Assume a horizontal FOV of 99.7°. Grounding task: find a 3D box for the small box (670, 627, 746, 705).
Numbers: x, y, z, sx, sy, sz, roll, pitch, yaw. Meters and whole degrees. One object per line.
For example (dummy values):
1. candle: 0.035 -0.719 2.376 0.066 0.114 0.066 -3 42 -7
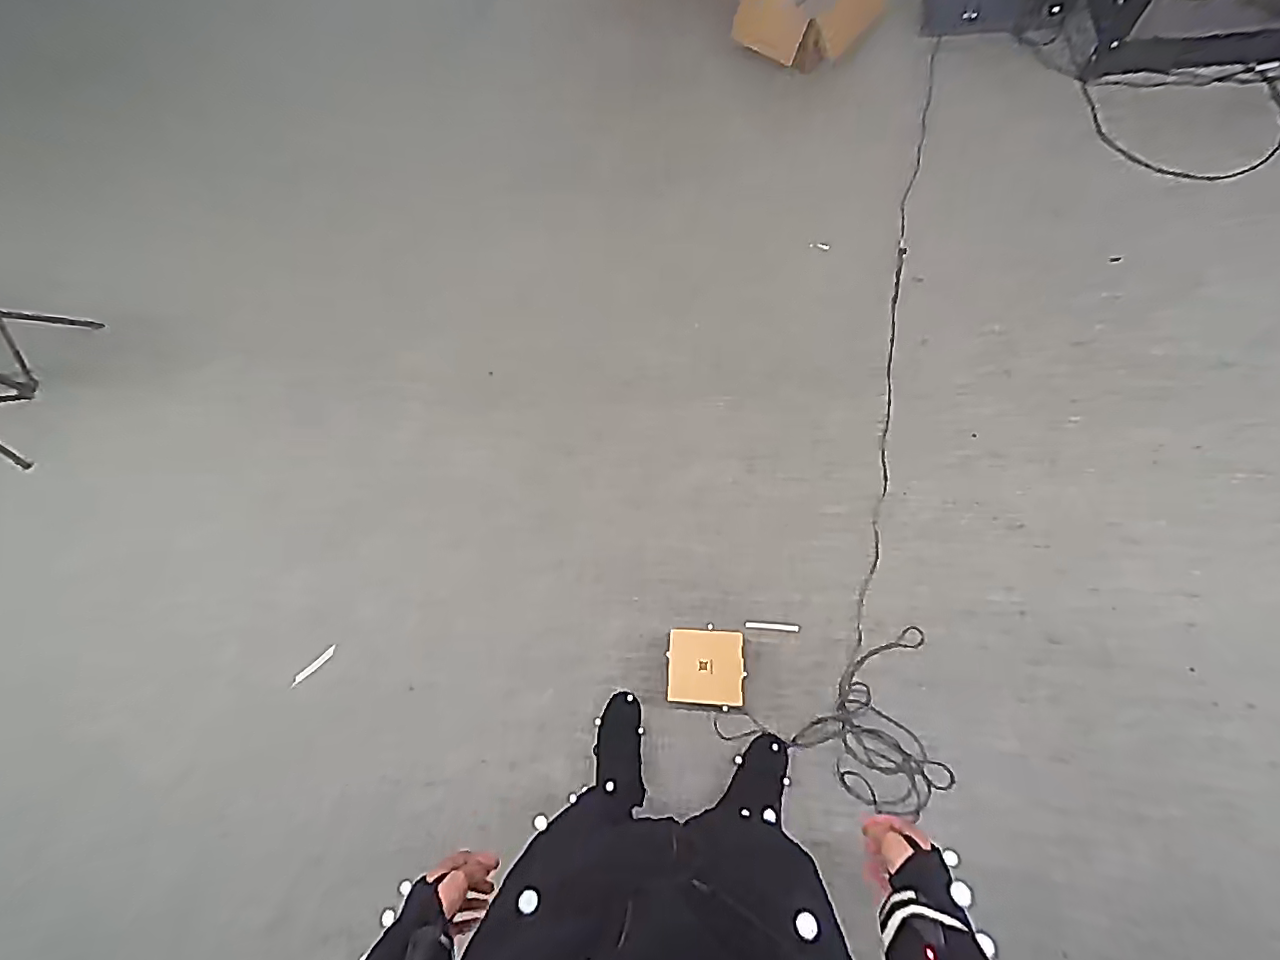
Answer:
1. small box: 0.172 0.459 1.339 0.179 0.176 0.168 1 72 9
